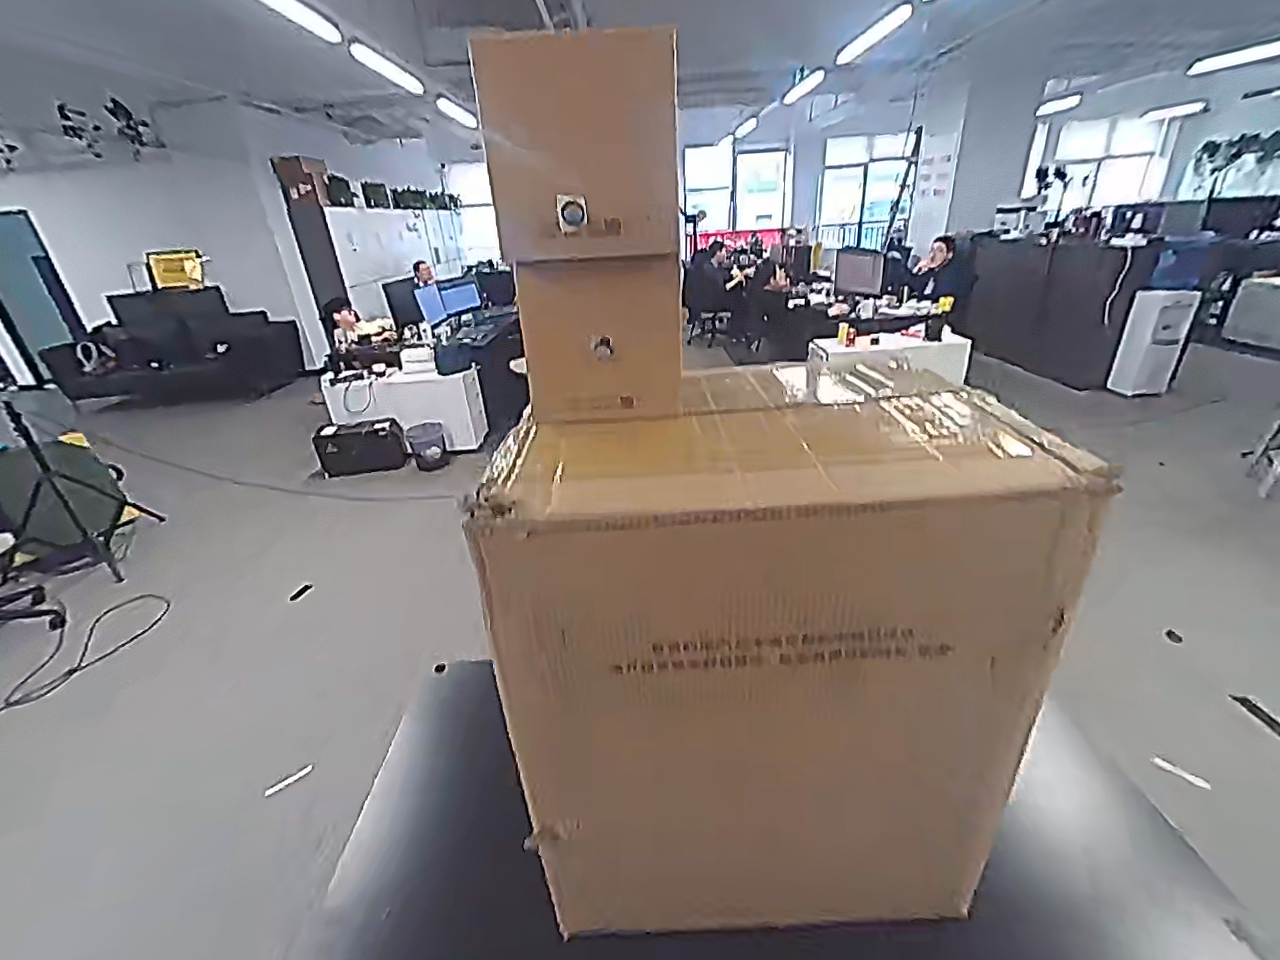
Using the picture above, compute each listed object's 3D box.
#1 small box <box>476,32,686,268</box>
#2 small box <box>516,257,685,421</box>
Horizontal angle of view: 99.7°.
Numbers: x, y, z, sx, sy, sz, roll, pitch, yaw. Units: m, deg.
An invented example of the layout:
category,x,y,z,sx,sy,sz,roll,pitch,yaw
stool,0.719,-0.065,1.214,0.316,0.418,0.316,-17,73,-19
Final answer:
category,x,y,z,sx,sy,sz,roll,pitch,yaw
small box,-0.048,-0.304,0.530,0.168,0.176,0.179,-5,26,-2
small box,-0.036,-0.171,0.630,0.168,0.176,0.179,-3,26,0
